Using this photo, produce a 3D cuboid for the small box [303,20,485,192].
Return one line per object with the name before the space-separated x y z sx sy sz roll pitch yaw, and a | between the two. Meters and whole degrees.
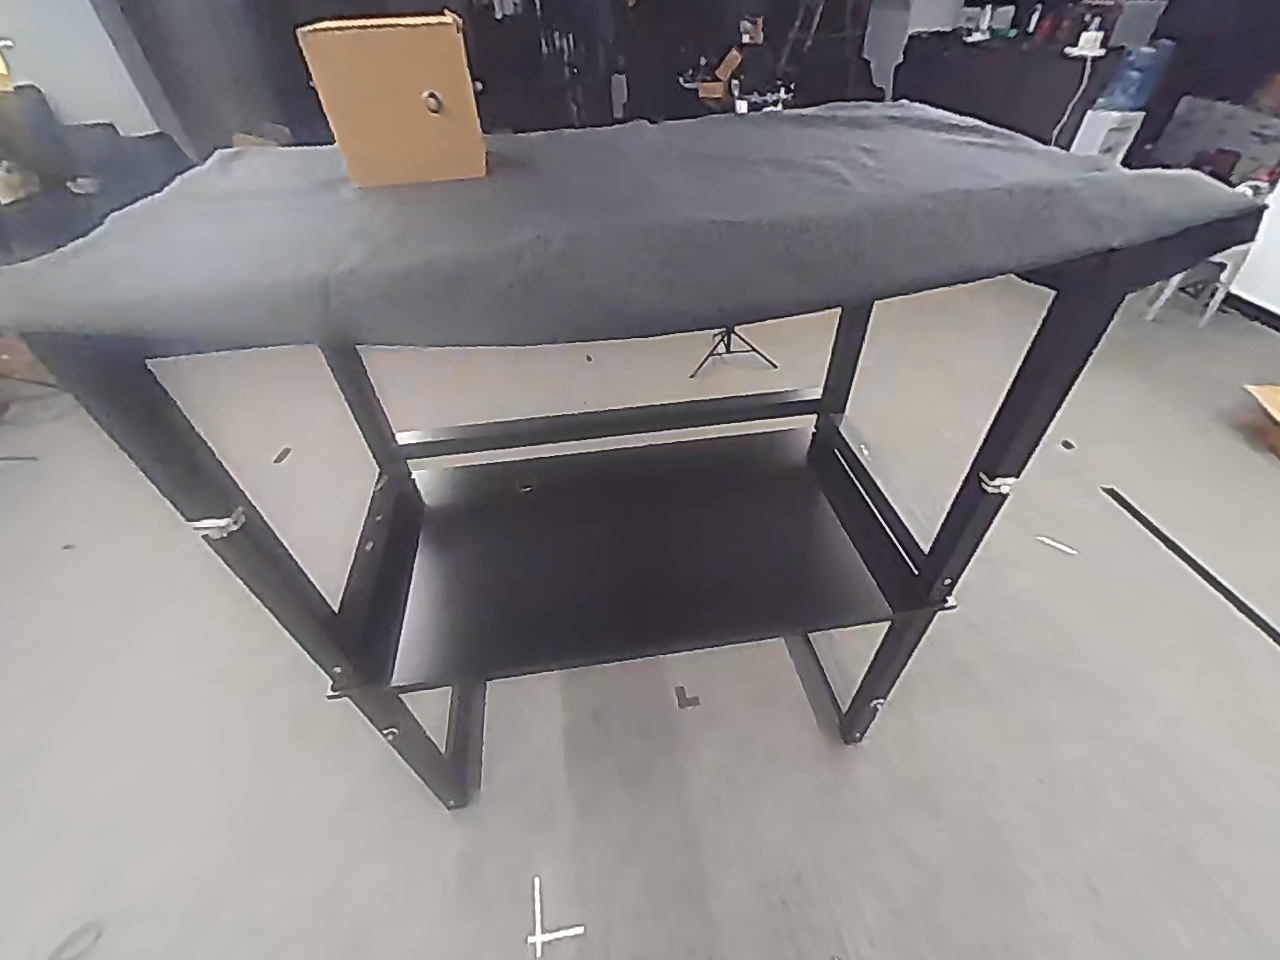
small box | -0.313 -0.510 0.737 0.179 0.176 0.168 -9 43 -8
